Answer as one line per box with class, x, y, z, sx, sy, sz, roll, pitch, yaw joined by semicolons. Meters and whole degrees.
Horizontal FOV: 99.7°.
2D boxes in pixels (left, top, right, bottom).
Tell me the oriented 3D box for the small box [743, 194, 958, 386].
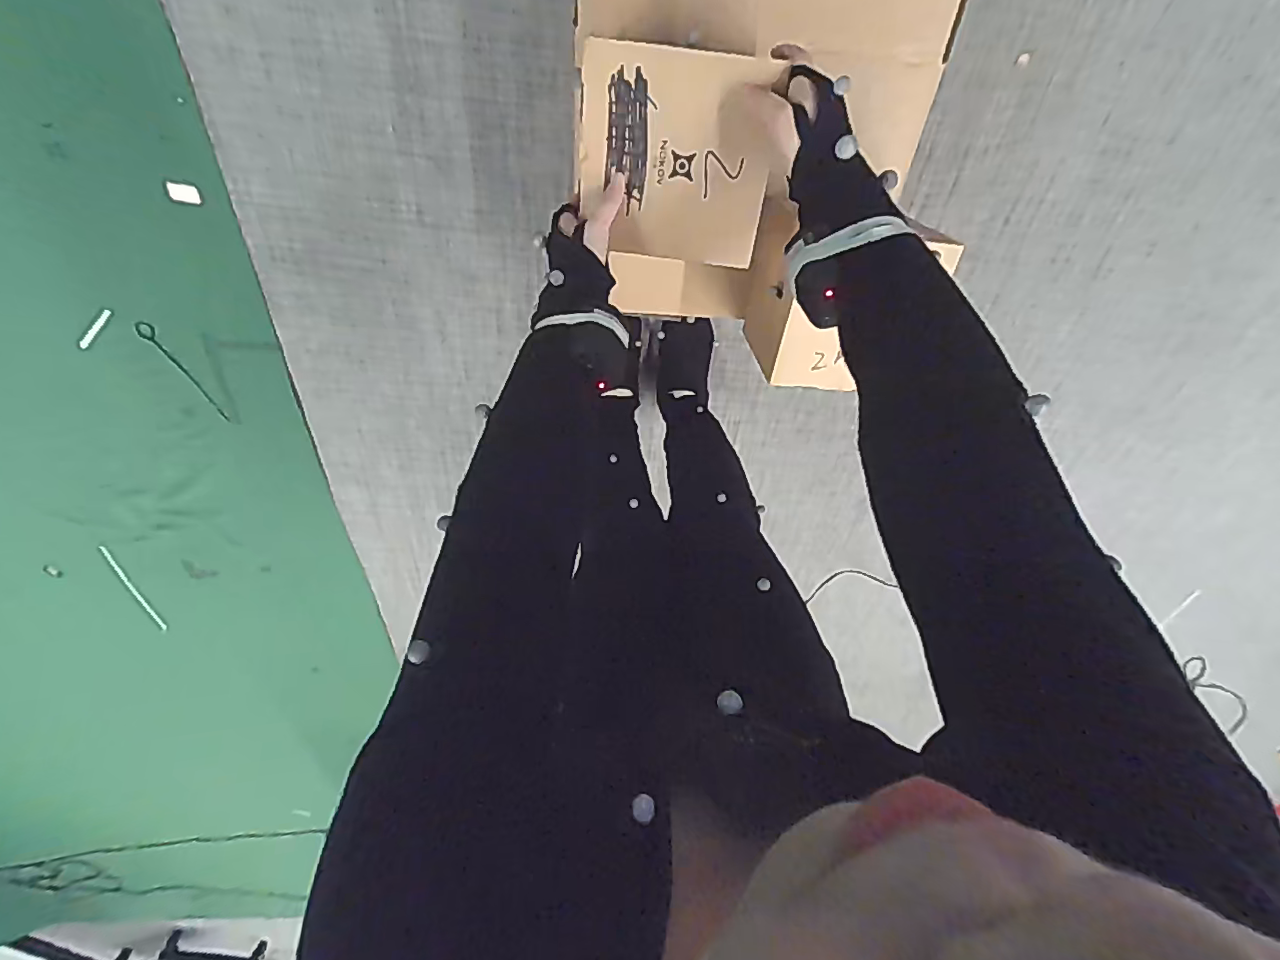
small box;0.234;-0.235;0.659;0.168;0.176;0.179;3;128;-6
